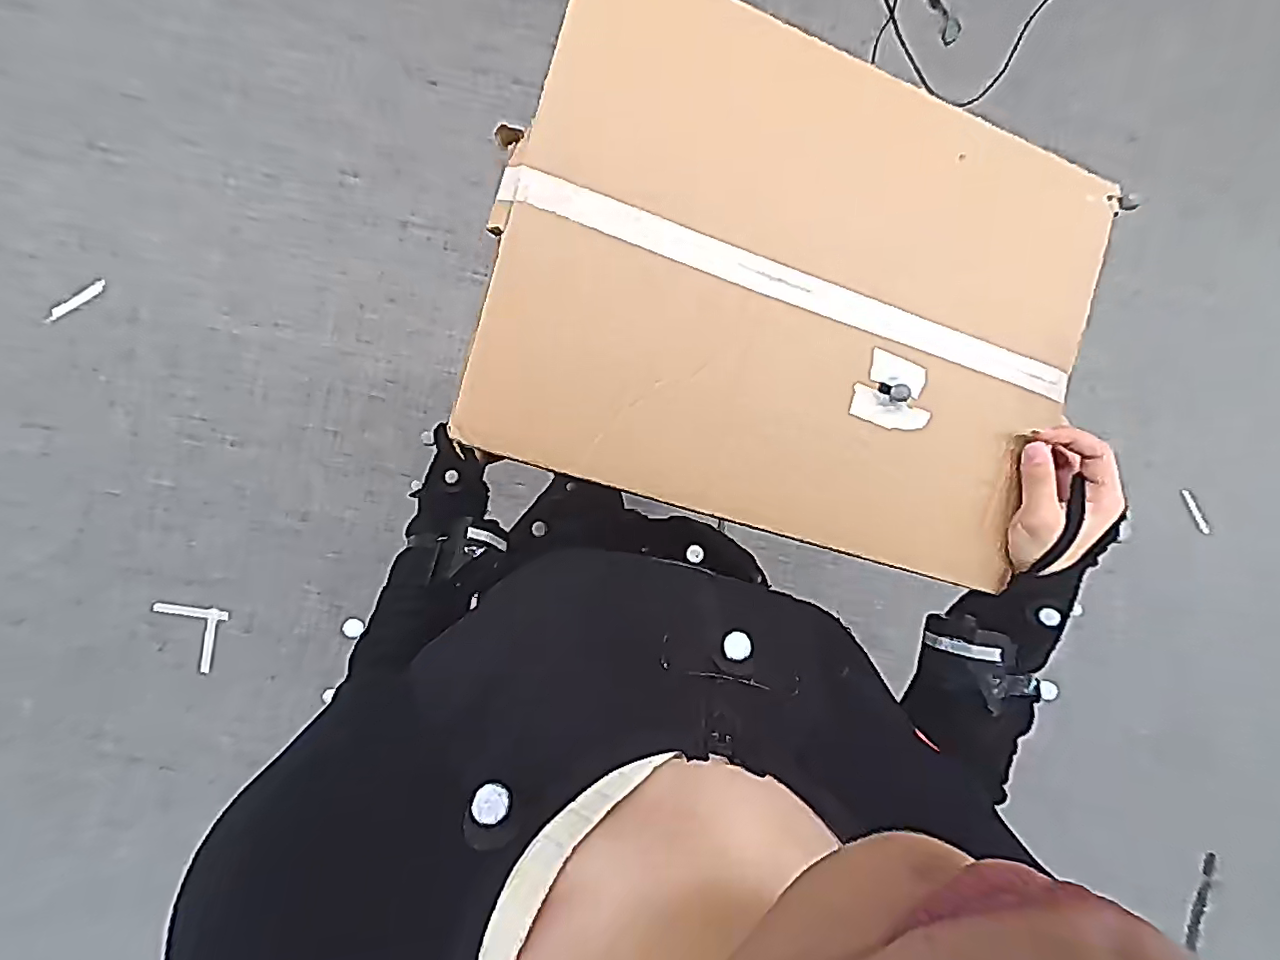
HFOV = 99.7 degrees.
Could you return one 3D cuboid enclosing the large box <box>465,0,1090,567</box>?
[{"bbox_3d":[0.085,-0.136,0.511,0.408,0.320,0.320,16,90,-13],"label":"large box"}]
